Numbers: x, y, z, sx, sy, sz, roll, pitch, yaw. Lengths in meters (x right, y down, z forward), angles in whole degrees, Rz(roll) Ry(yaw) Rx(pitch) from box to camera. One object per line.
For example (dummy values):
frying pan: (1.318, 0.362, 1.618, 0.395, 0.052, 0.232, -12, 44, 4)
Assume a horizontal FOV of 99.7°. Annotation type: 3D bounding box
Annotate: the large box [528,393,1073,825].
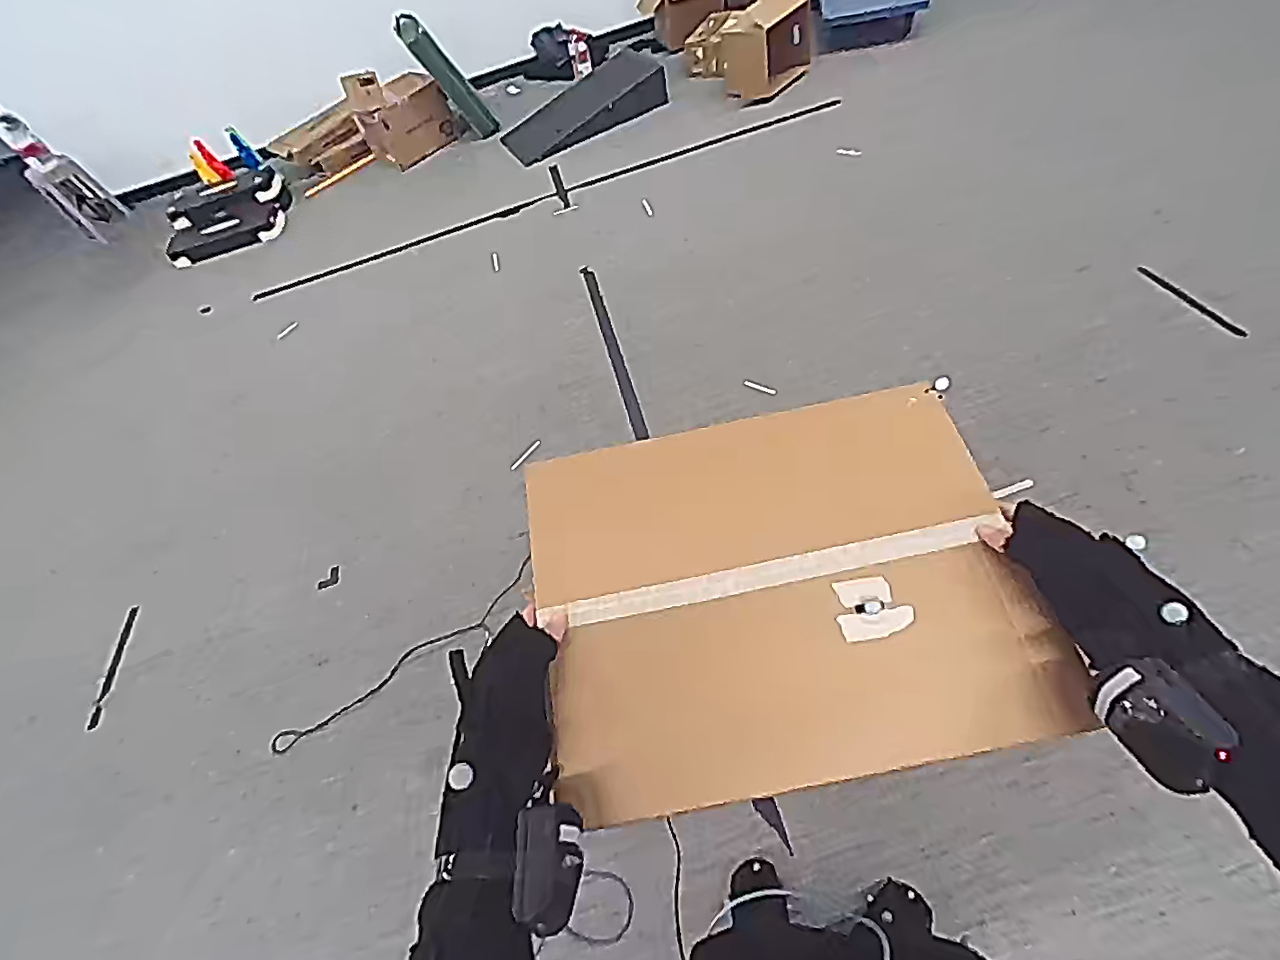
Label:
large box: (0.120, 0.153, 0.605, 0.408, 0.320, 0.320, -12, 63, -1)
